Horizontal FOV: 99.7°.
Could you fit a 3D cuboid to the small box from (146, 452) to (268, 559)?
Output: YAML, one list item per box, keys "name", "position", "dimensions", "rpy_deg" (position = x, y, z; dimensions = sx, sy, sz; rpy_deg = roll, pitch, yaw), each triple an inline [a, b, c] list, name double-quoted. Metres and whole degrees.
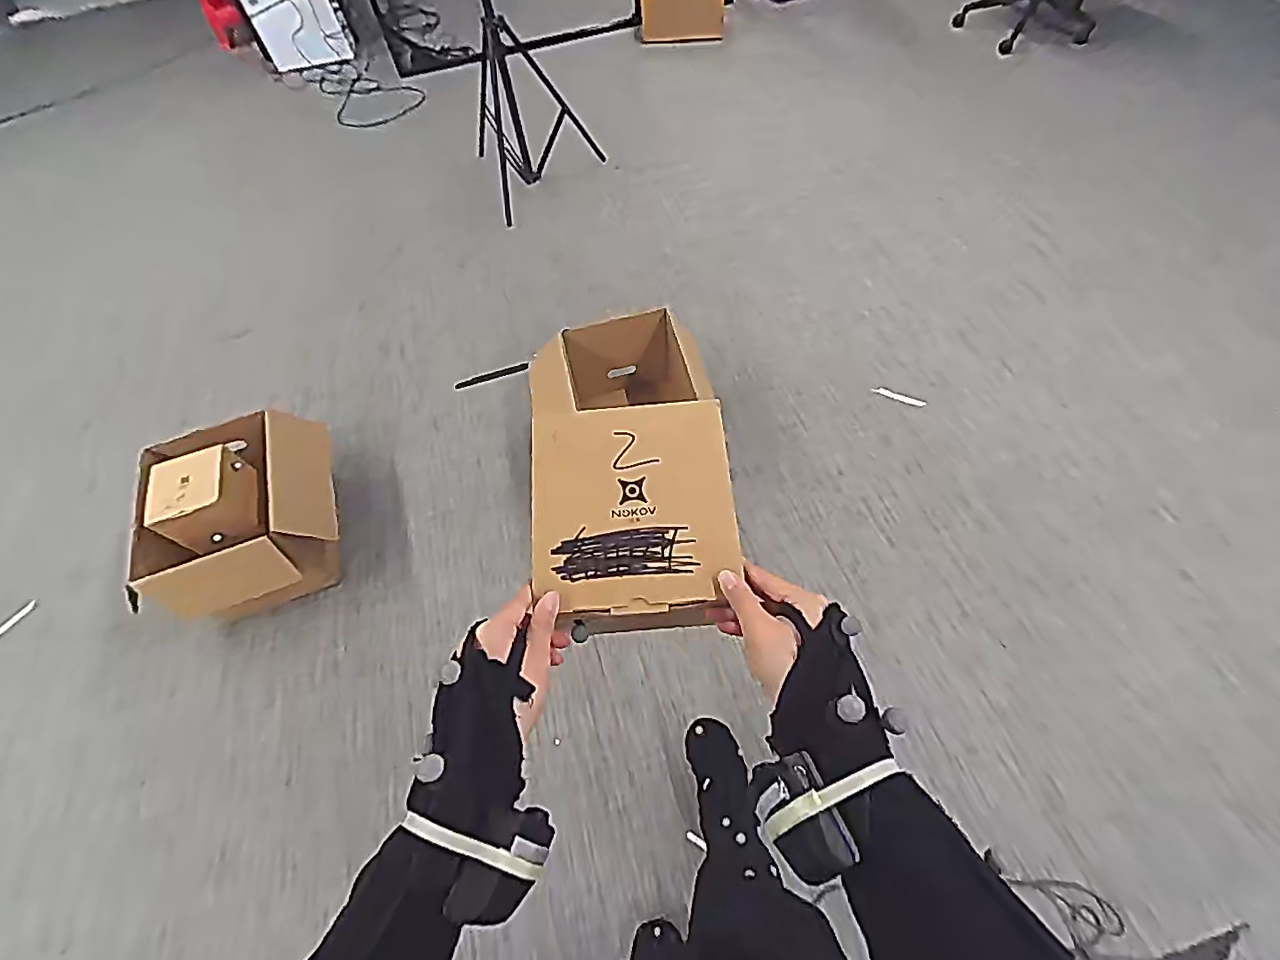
- name: "small box"
  position: [-1.050, 0.065, 1.328]
  dimensions: [0.168, 0.176, 0.179]
  rpy_deg: [-20, 59, -6]
